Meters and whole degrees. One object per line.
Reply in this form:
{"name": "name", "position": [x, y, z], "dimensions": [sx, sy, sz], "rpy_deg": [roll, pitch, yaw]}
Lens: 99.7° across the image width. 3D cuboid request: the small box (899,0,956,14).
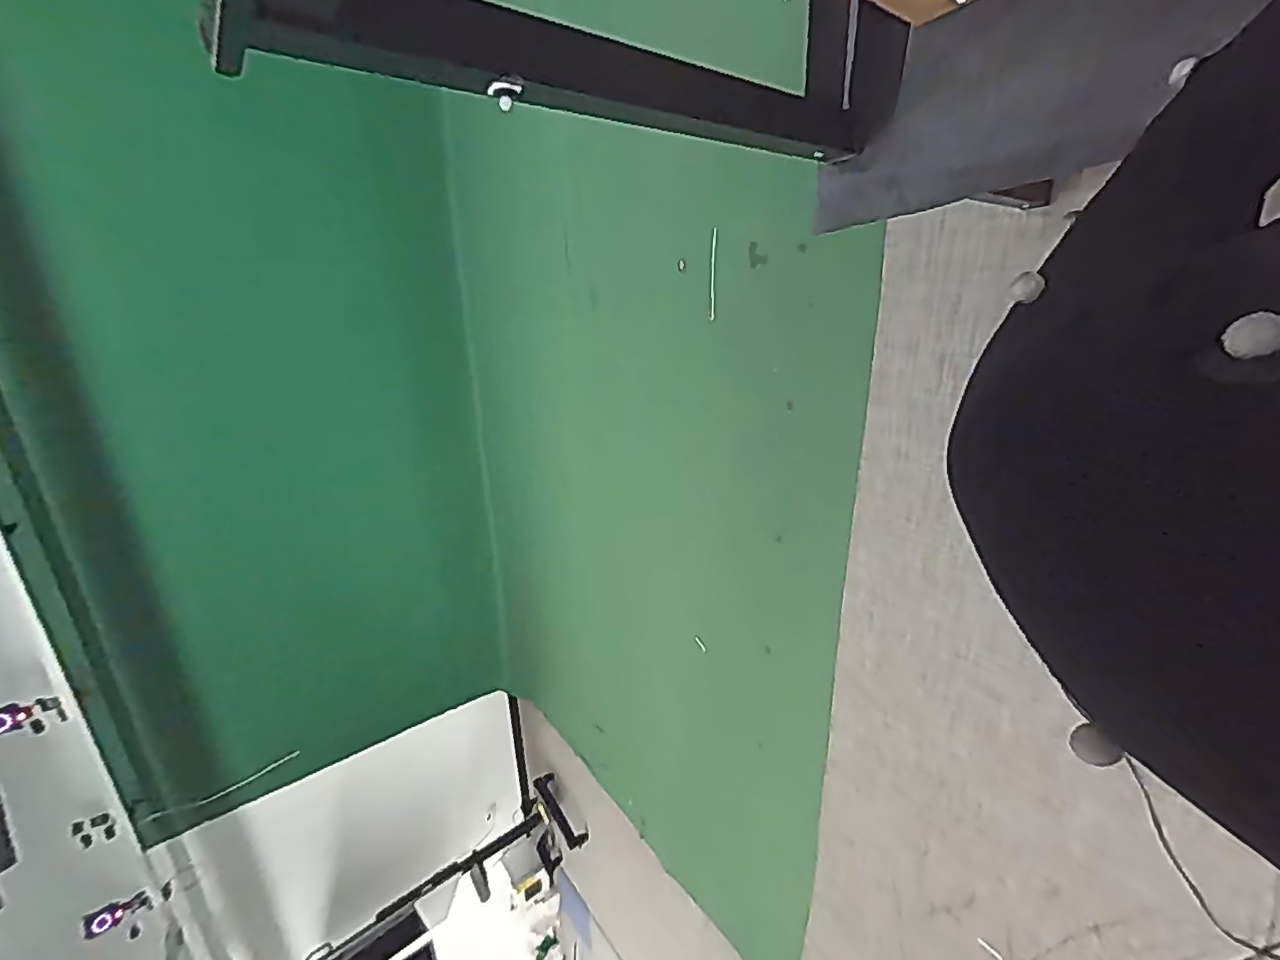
{"name": "small box", "position": [0.323, -0.623, 0.540], "dimensions": [0.168, 0.176, 0.179], "rpy_deg": [17, 117, 51]}
